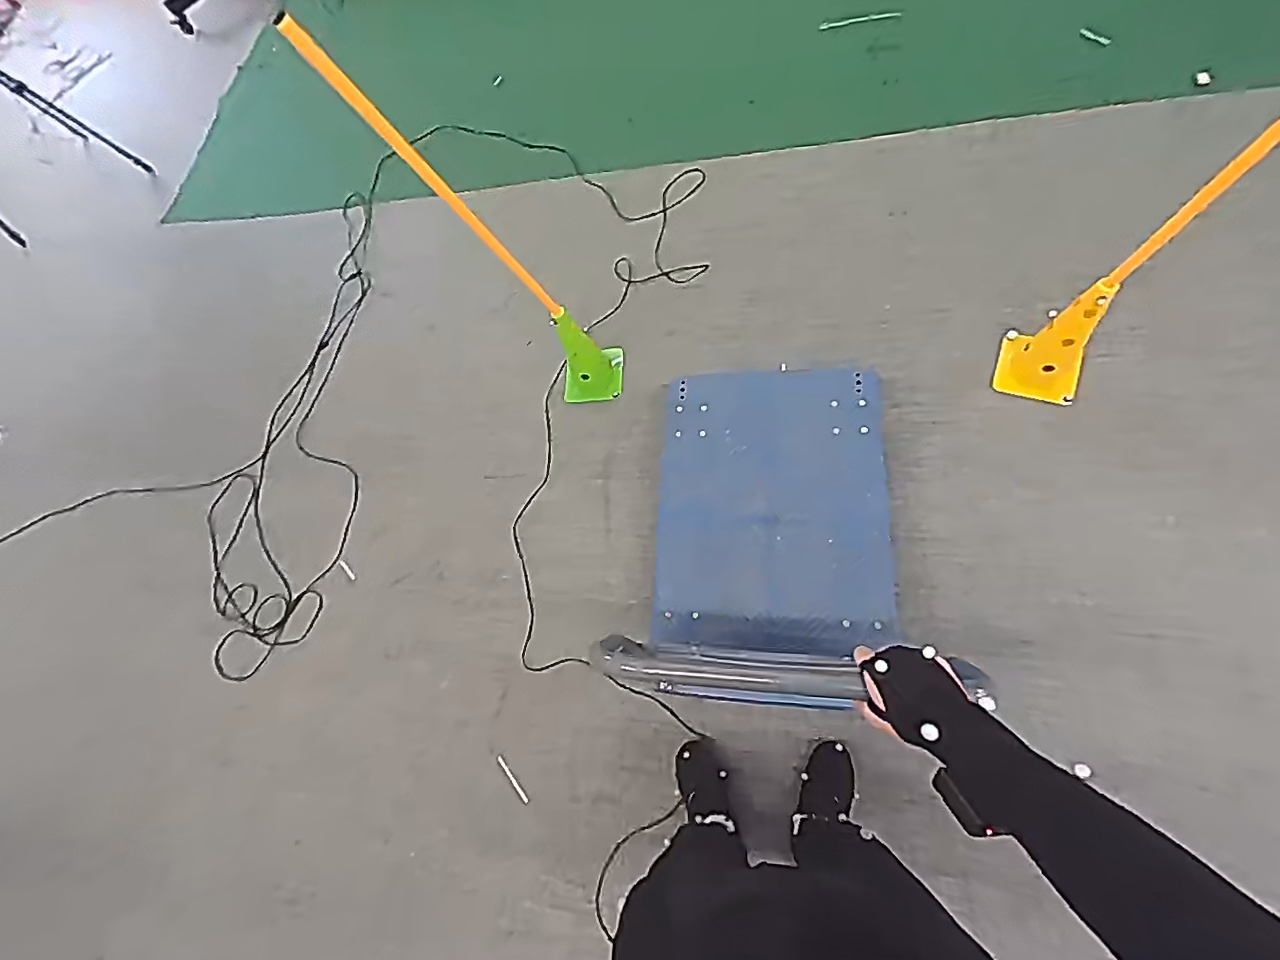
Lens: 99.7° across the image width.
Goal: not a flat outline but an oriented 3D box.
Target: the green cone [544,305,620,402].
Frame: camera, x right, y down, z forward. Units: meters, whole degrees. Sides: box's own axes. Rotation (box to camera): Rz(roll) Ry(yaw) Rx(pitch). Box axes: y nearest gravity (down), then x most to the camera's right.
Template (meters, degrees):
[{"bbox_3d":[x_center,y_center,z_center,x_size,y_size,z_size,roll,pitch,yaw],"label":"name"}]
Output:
[{"bbox_3d":[-0.207,-0.423,1.694,0.202,0.368,0.200,-4,69,14],"label":"green cone"}]
